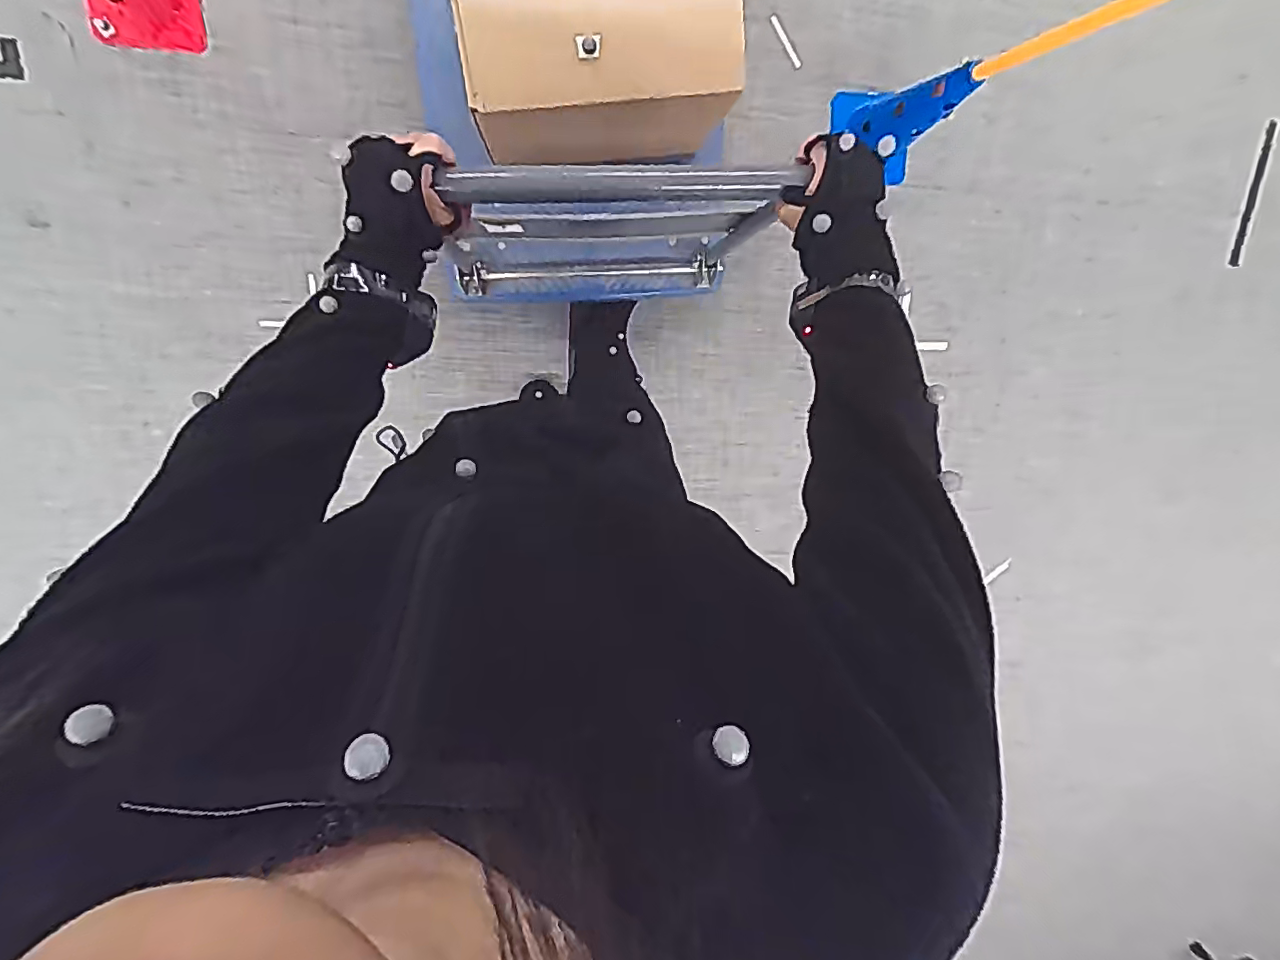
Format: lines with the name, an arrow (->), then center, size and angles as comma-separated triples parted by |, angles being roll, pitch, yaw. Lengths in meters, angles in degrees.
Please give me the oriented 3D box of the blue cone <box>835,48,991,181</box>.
blue cone -> 0.584, -0.786, 1.144 | 0.193, 0.380, 0.192 | -3, 105, -8
